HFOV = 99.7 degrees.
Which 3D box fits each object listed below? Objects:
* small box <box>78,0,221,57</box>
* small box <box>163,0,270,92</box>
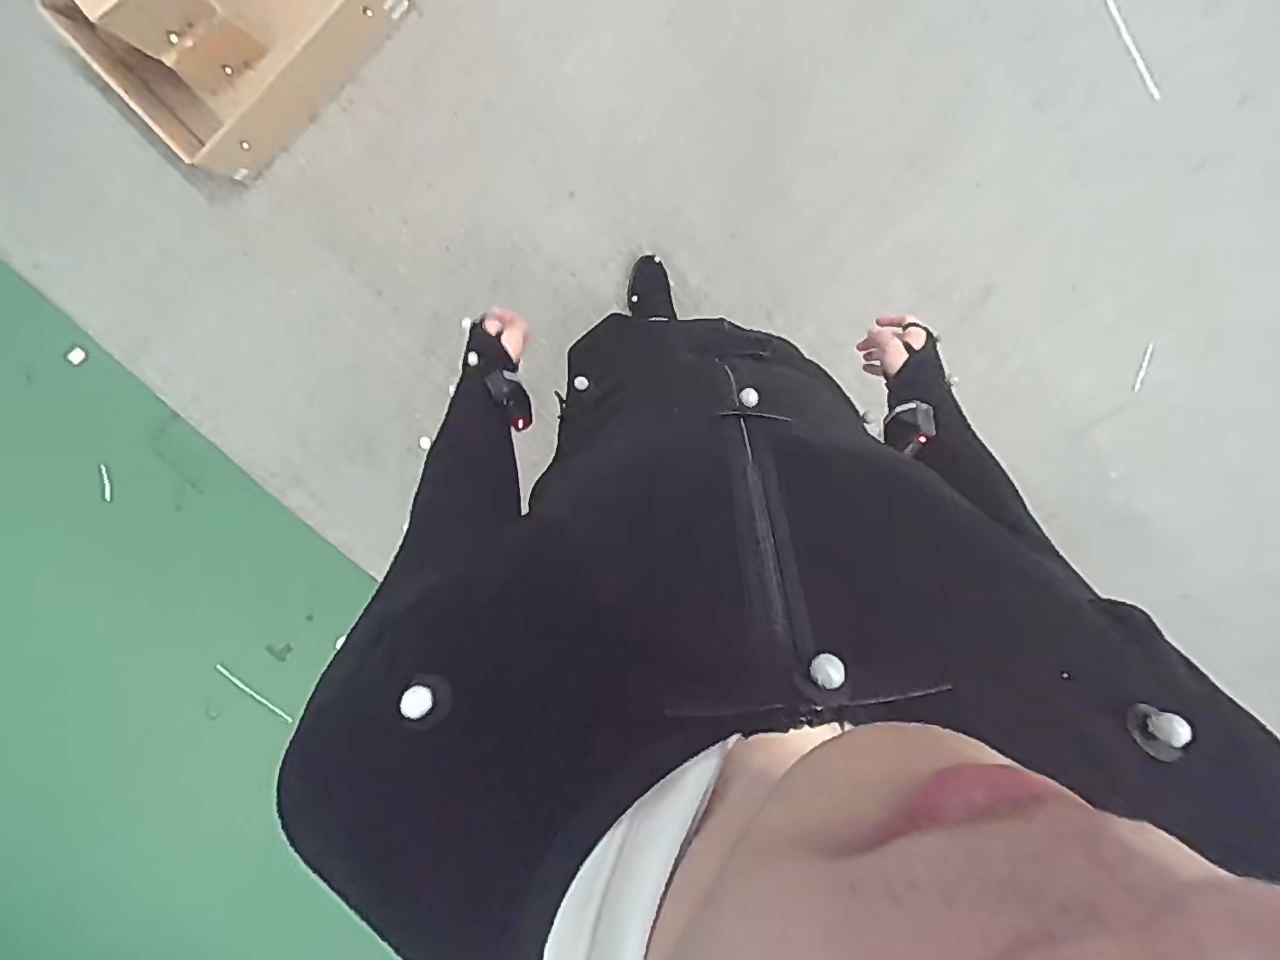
[{"bbox_3d":[-0.953,-0.951,1.006,0.168,0.176,0.179,-32,107,6],"label":"small box"},{"bbox_3d":[-0.961,-0.994,1.164,0.168,0.176,0.179,-36,107,6],"label":"small box"}]
